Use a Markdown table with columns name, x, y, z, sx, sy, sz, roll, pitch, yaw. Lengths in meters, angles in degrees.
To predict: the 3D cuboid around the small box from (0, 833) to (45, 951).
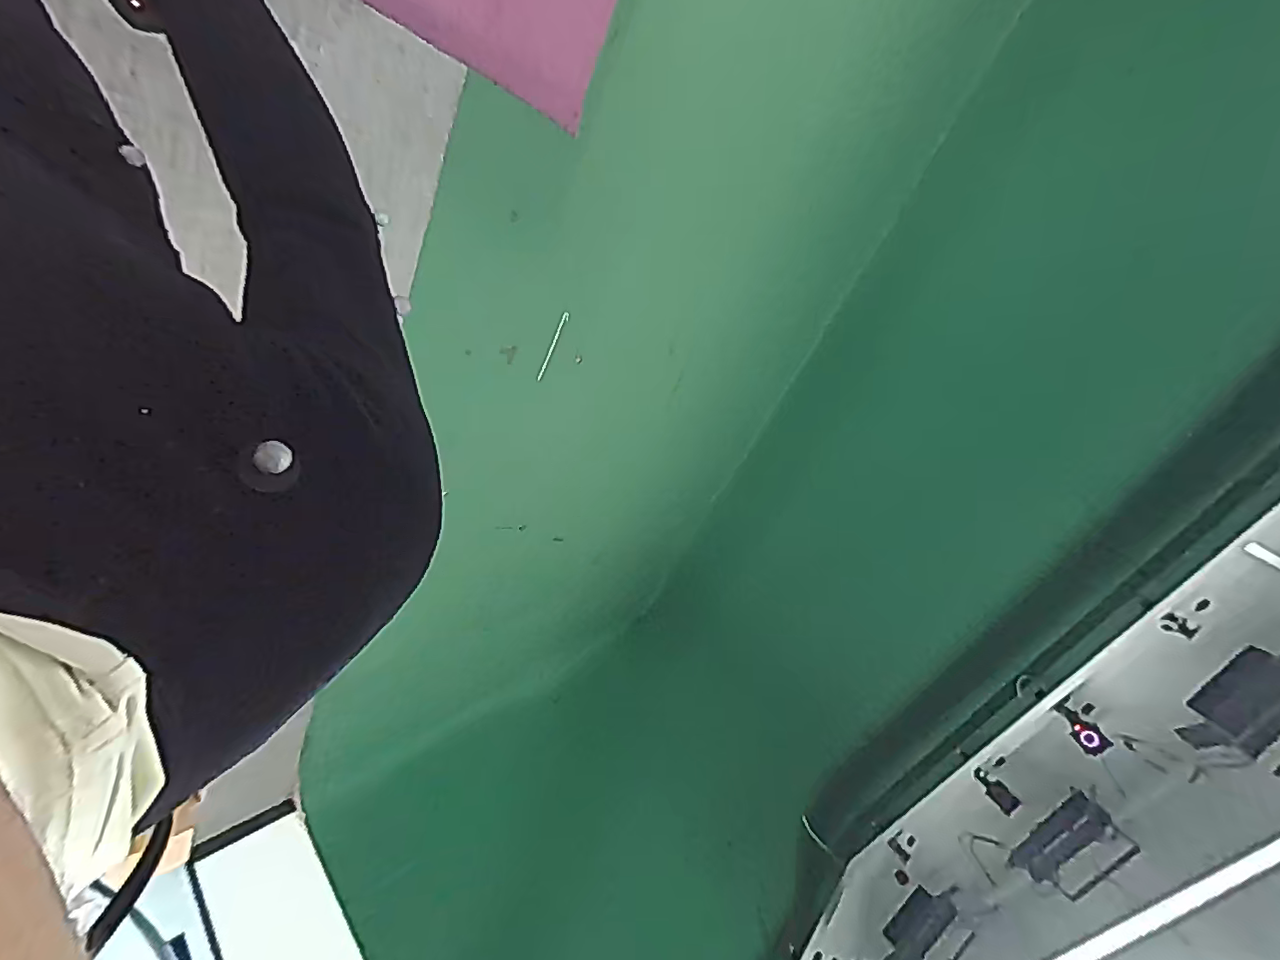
| name | x | y | z | sx | sy | sz | roll | pitch | yaw |
| --- | --- | --- | --- | --- | --- | --- | --- | --- | --- |
| small box | -1.442 | 0.924 | 1.177 | 0.179 | 0.176 | 0.168 | -4 | 129 | -53 |

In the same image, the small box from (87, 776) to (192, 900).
| name | x | y | z | sx | sy | sz | roll | pitch | yaw |
| --- | --- | --- | --- | --- | --- | --- | --- | --- | --- |
| small box | -1.282 | 0.906 | 1.384 | 0.168 | 0.176 | 0.179 | -8 | 133 | -53 |
